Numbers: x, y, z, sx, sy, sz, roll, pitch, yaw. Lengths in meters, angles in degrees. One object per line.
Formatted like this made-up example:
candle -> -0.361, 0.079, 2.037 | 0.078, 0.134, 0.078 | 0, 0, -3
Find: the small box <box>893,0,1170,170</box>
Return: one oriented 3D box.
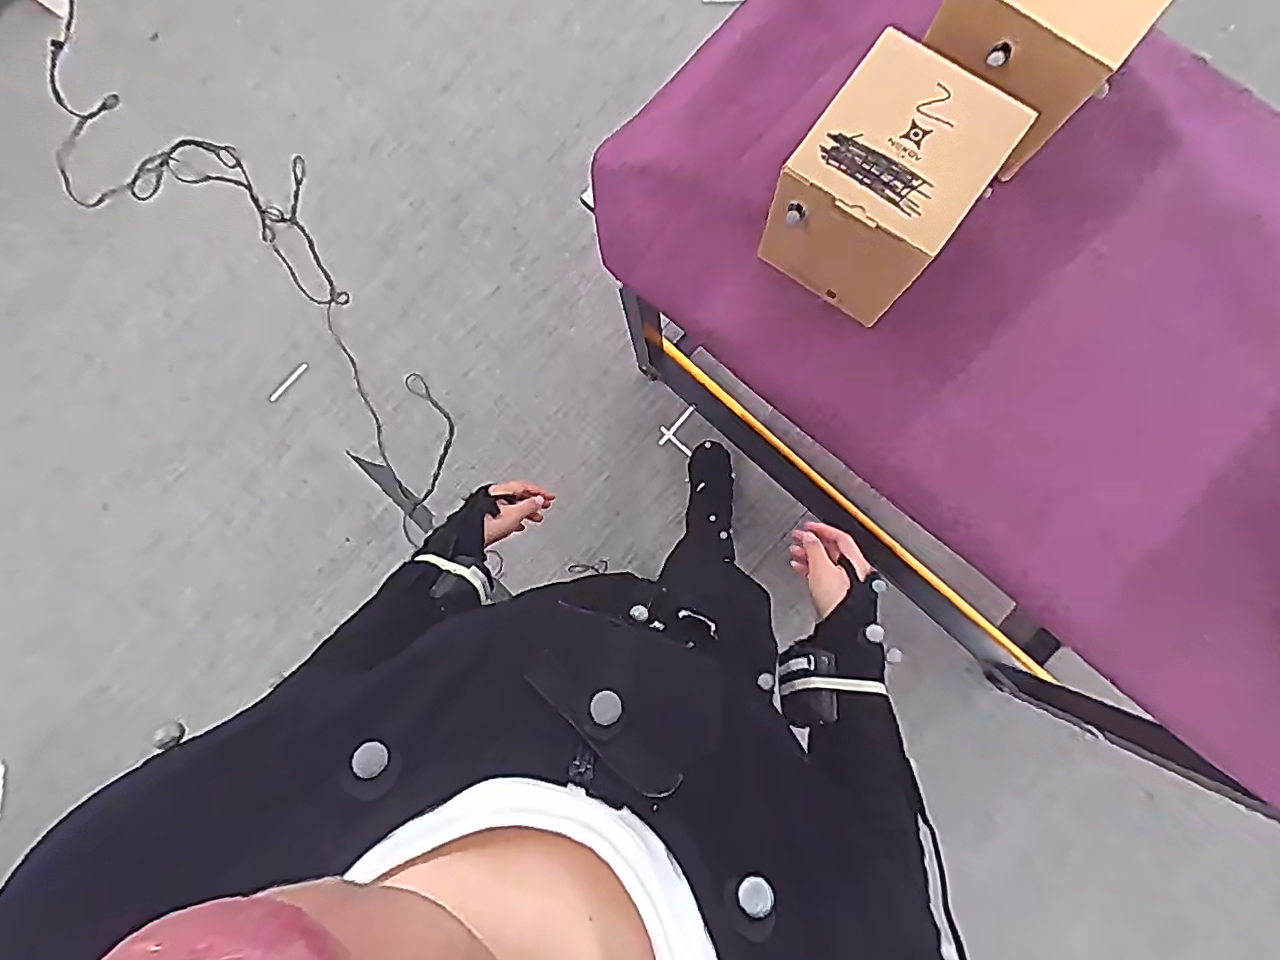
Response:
small box -> 0.424, -0.486, 0.595 | 0.179, 0.176, 0.168 | 39, 88, 6
